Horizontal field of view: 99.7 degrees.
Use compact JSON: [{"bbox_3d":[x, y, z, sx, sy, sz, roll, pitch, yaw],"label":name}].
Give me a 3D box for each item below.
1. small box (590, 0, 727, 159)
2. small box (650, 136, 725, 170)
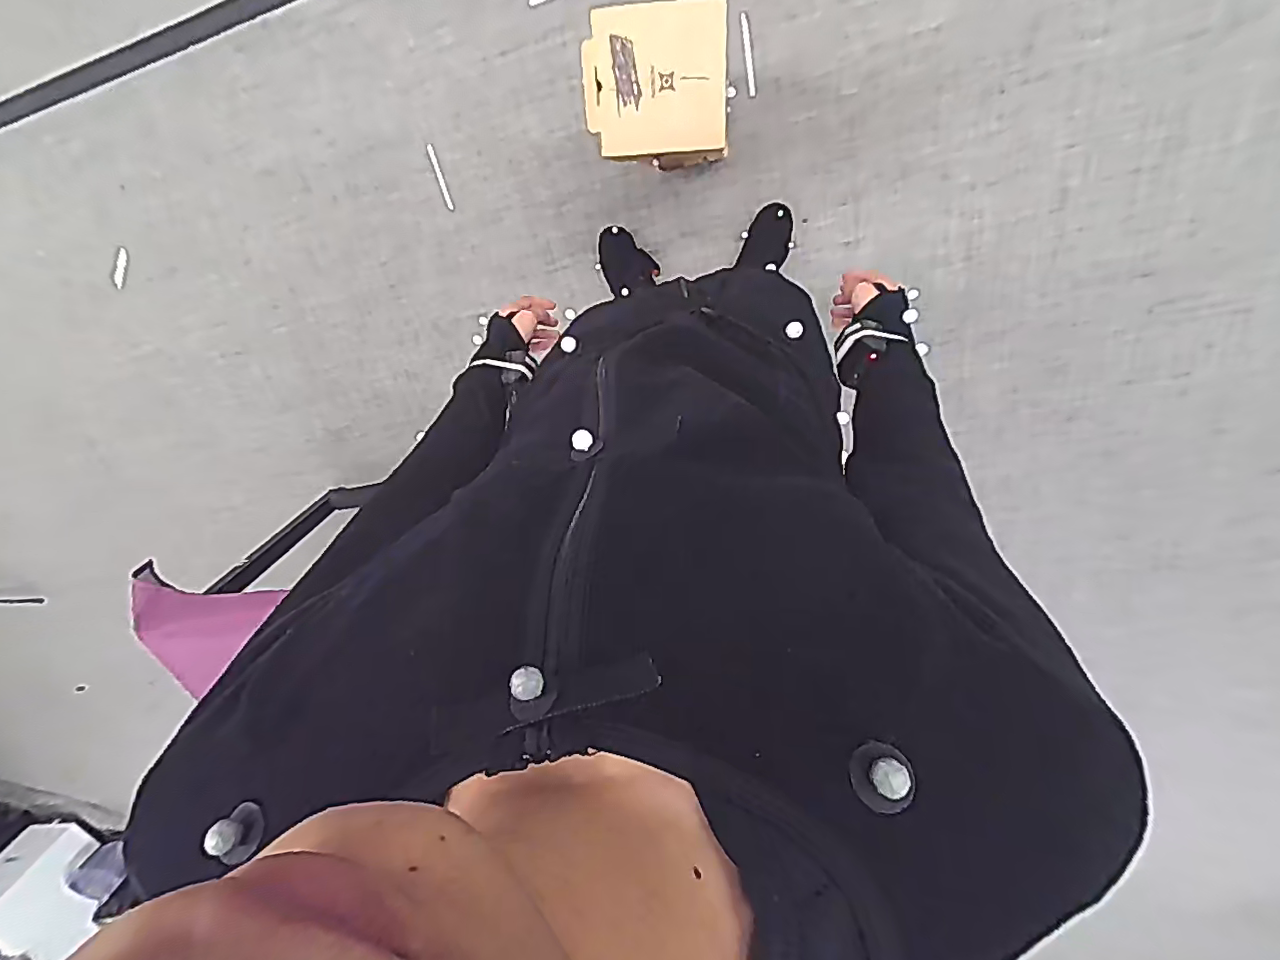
[{"bbox_3d":[0.034,-0.568,0.785,0.179,0.176,0.168,0,119,6],"label":"small box"},{"bbox_3d":[0.103,-0.808,1.211,0.168,0.176,0.179,-5,118,10],"label":"small box"}]
